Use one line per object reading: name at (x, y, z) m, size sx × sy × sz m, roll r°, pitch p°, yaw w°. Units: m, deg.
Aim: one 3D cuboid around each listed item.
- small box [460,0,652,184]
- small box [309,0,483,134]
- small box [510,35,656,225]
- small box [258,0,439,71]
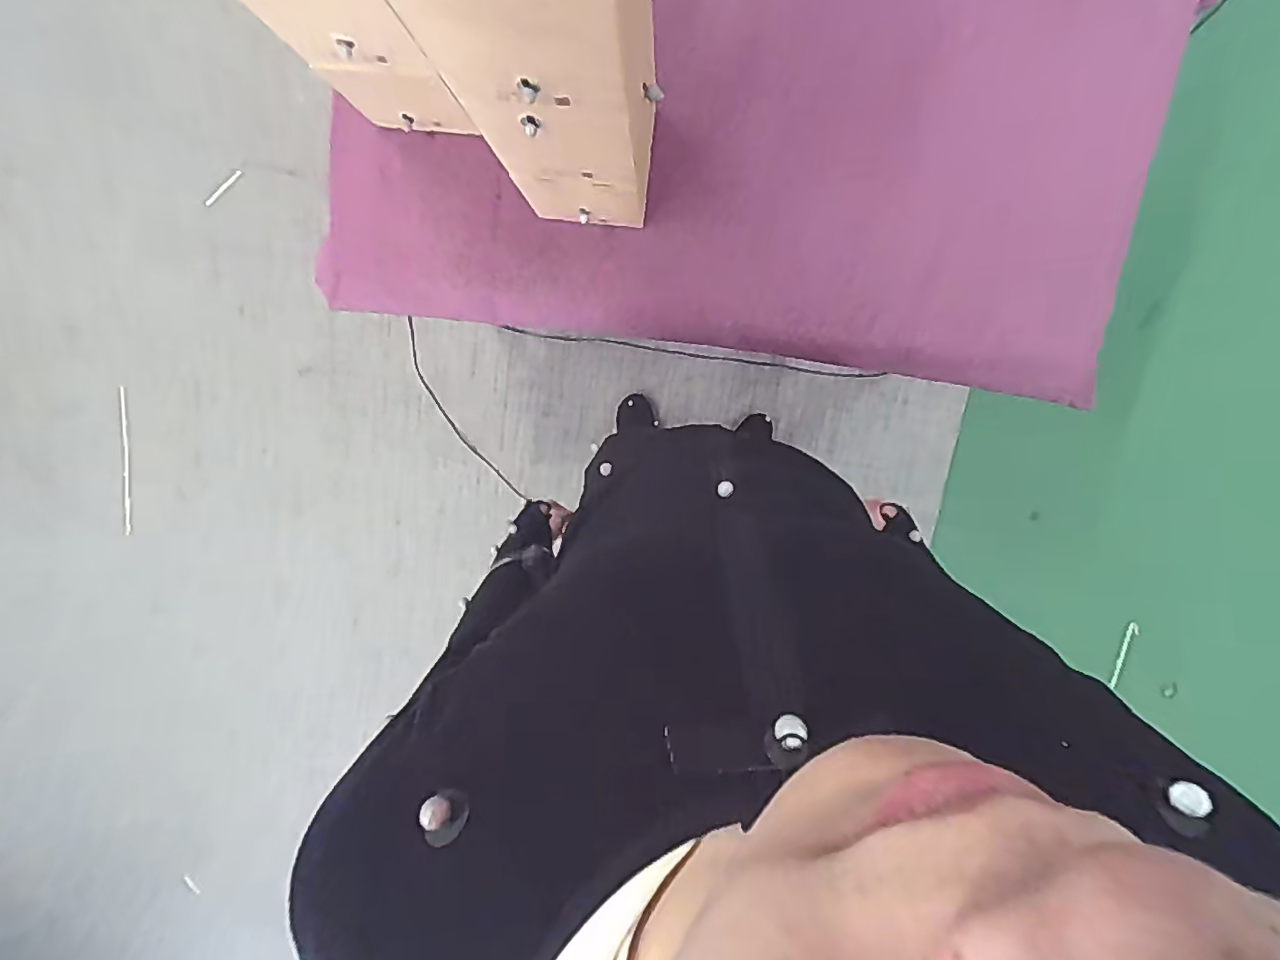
small box at (-0.077, -0.449, 0.579) m, size 0.168 × 0.176 × 0.179 m, roll 7°, pitch 99°, yaw 2°
small box at (-0.316, -0.607, 0.731) m, size 0.168 × 0.176 × 0.179 m, roll 6°, pitch 101°, yaw 2°
small box at (-0.069, -0.473, 0.741) m, size 0.168 × 0.176 × 0.179 m, roll 7°, pitch 100°, yaw 2°
small box at (-0.323, -0.581, 0.570) m, size 0.168 × 0.176 × 0.179 m, roll 6°, pitch 101°, yaw 3°
